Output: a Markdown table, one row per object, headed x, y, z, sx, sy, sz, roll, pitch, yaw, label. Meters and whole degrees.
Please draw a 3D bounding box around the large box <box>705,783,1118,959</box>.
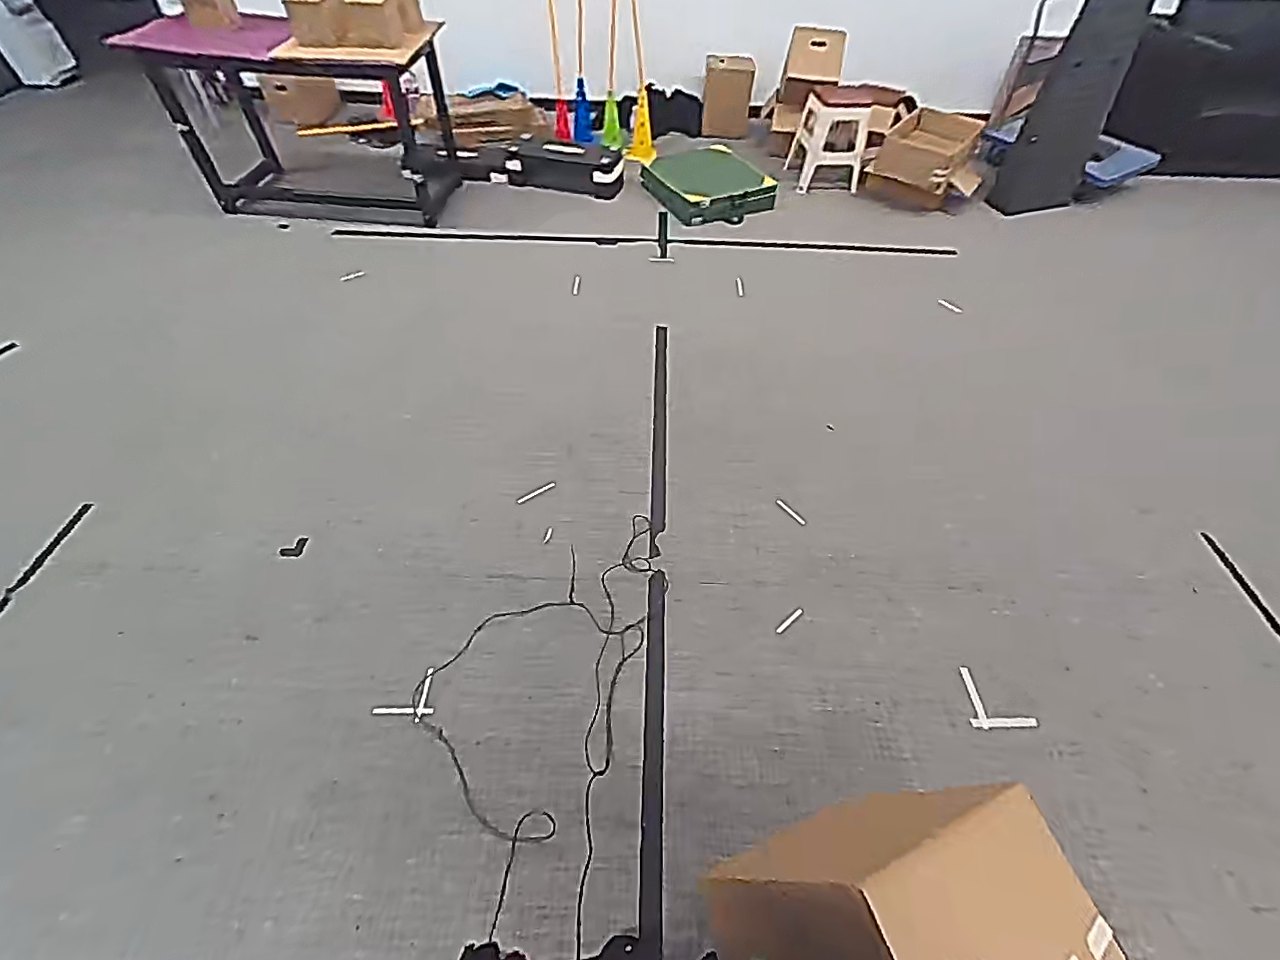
| x | y | z | sx | sy | sz | roll | pitch | yaw | label |
| --- | --- | --- | --- | --- | --- | --- | --- | --- | --- |
| 0.353 | 0.654 | 0.733 | 0.320 | 0.408 | 0.320 | -8 | 59 | -27 | large box |
